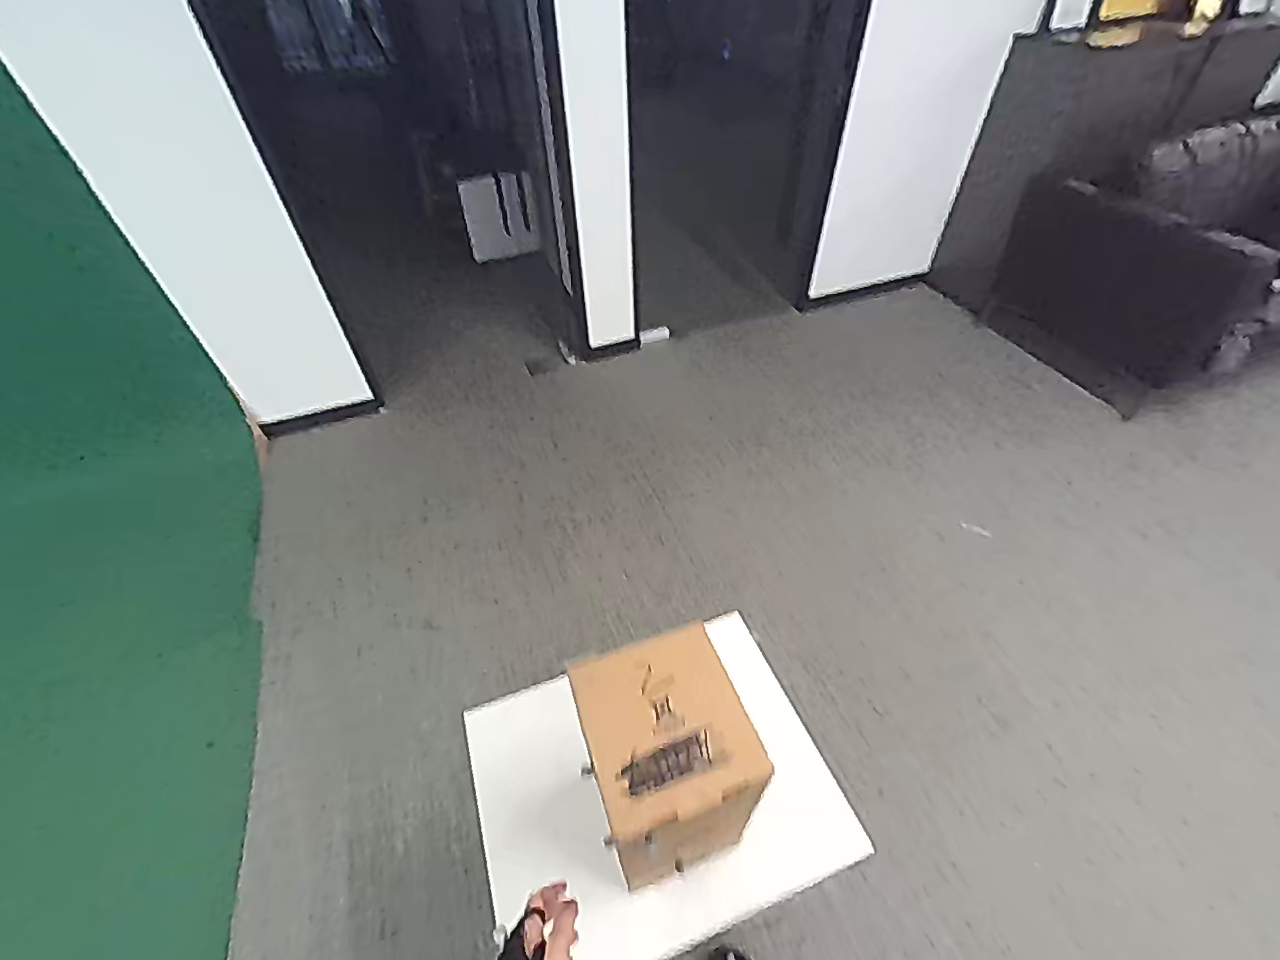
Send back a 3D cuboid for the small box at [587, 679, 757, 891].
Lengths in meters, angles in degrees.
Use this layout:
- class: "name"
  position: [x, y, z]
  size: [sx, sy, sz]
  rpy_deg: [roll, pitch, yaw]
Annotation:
- class: "small box"
  position: [0.034, 0.406, 0.724]
  size: [0.168, 0.176, 0.179]
  rpy_deg: [-16, 46, -13]
